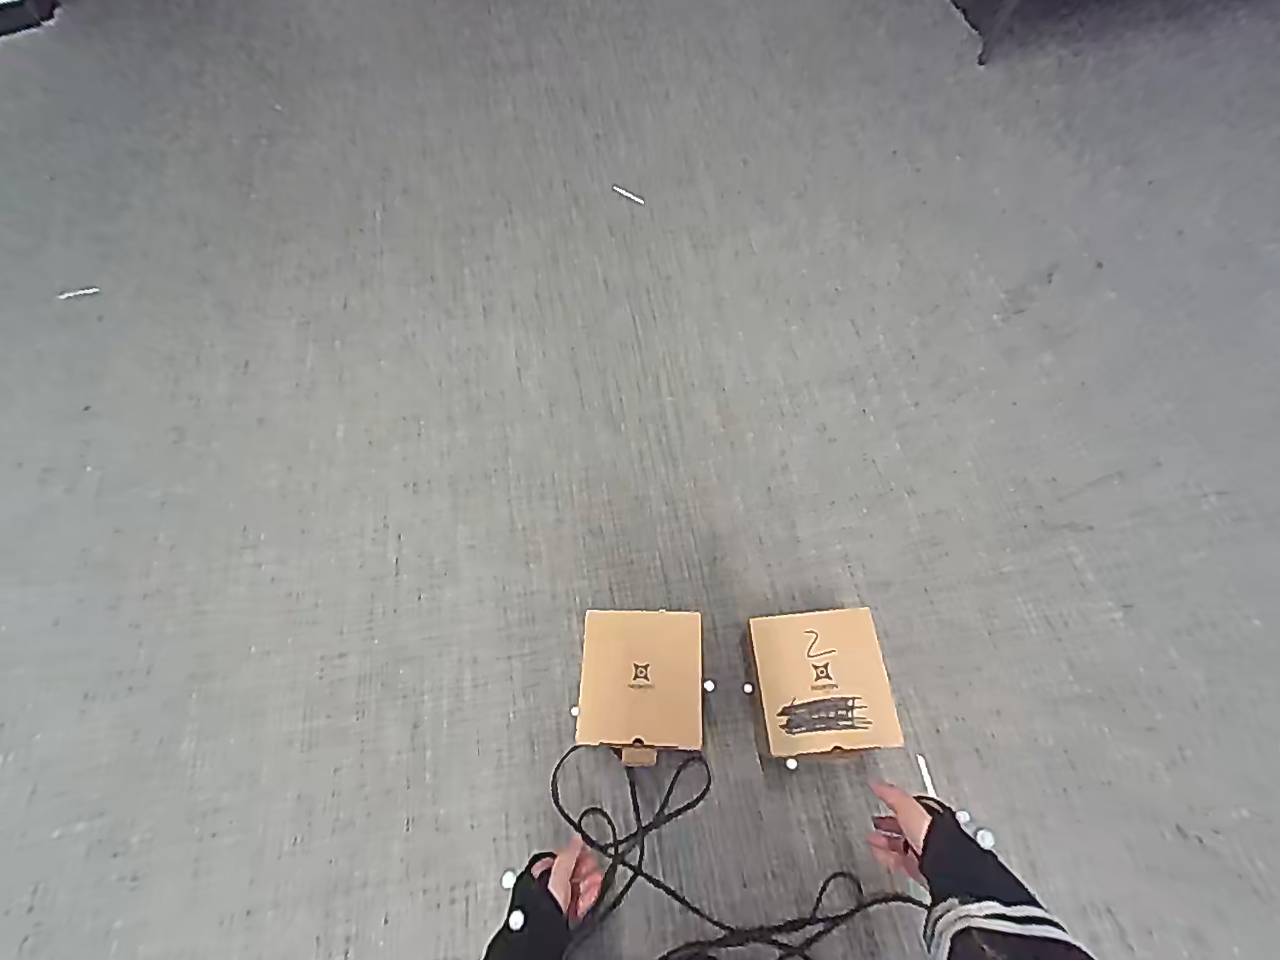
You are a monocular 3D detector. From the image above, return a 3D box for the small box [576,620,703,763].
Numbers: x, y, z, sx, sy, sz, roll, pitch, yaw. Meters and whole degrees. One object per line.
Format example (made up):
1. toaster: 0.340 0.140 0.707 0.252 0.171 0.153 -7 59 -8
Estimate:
1. small box: 0.008 0.312 0.801 0.168 0.176 0.179 0 66 6
